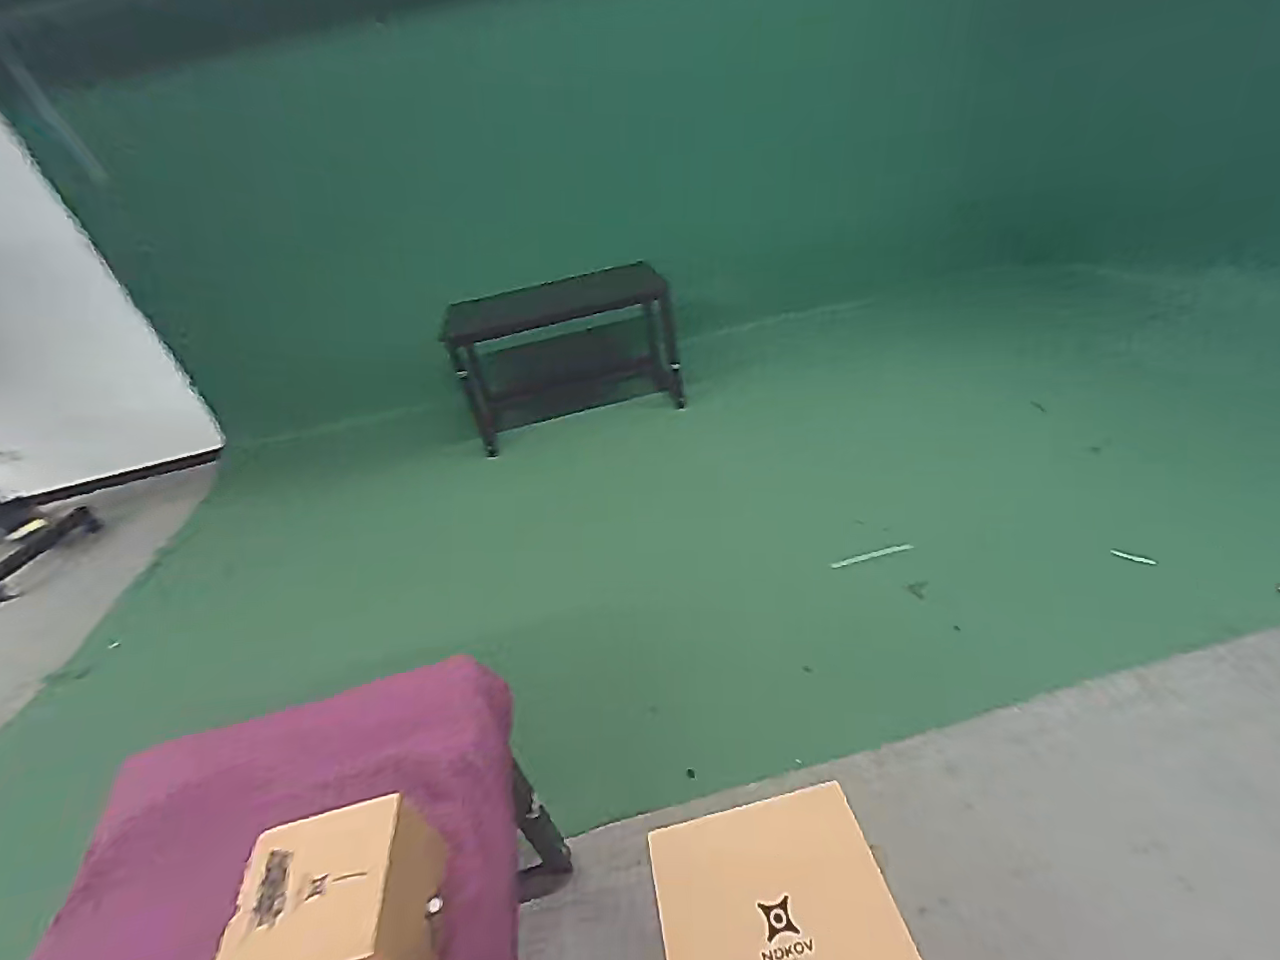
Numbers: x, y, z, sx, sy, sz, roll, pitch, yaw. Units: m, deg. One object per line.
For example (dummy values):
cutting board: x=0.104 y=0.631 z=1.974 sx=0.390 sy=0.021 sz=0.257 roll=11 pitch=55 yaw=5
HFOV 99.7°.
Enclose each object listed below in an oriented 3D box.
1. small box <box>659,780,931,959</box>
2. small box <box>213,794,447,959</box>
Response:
small box: x=0.119 y=0.376 z=0.416 sx=0.168 sy=0.176 sz=0.179 roll=-15 pitch=33 yaw=0
small box: x=-0.353 y=0.518 z=0.645 sx=0.179 sy=0.176 sz=0.168 roll=-14 pitch=35 yaw=-4
